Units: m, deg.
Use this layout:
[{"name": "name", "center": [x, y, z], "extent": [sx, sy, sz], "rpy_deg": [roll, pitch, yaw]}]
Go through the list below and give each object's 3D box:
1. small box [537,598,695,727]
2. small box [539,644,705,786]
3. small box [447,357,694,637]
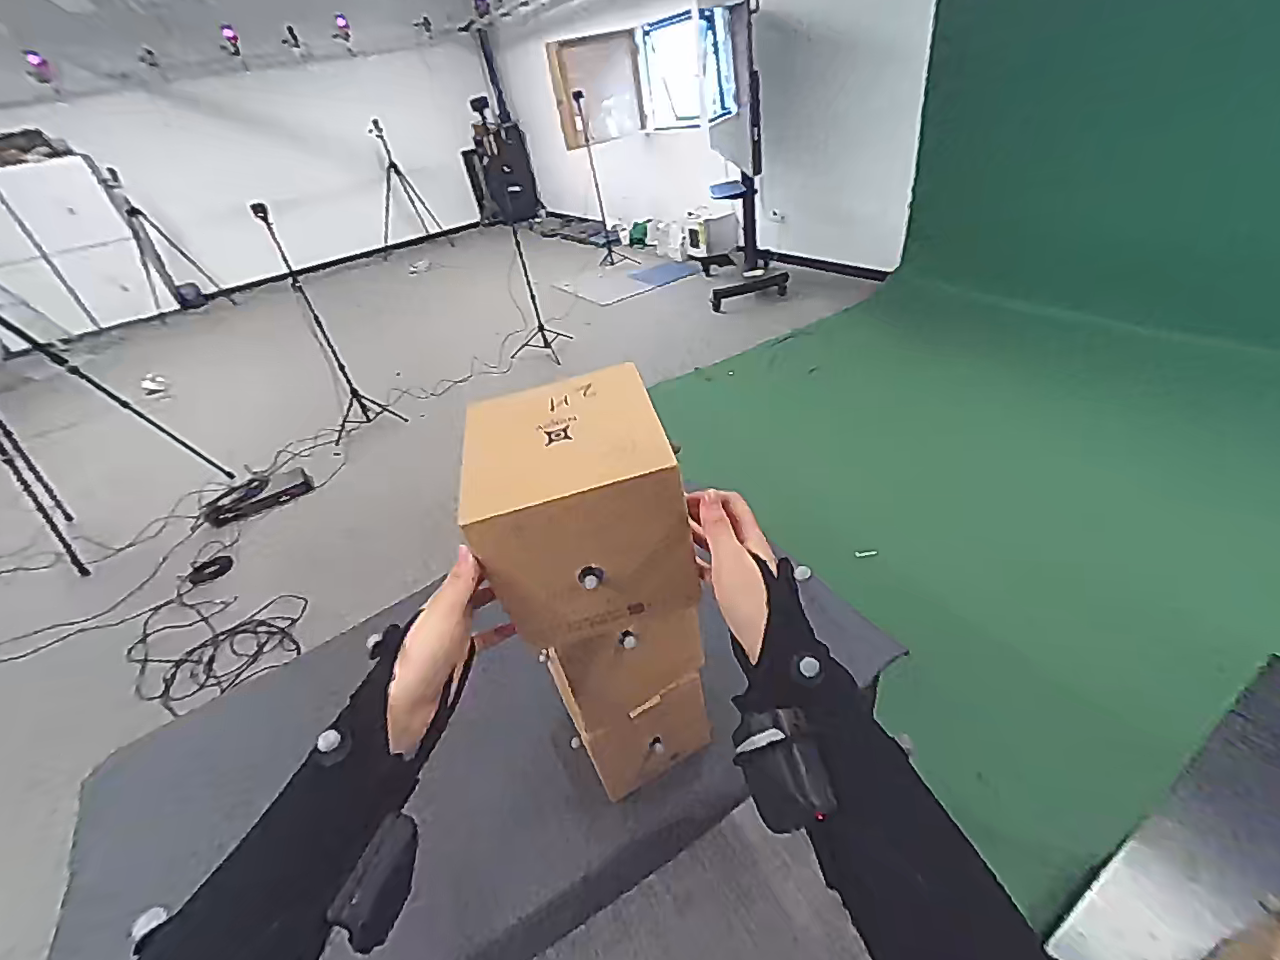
[{"name": "small box", "center": [-0.043, 0.171, 0.693], "extent": [0.179, 0.176, 0.168], "rpy_deg": [-27, 37, -18]}, {"name": "small box", "center": [-0.022, 0.306, 0.783], "extent": [0.168, 0.176, 0.179], "rpy_deg": [-25, 37, -17]}, {"name": "small box", "center": [-0.056, 0.019, 0.489], "extent": [0.168, 0.176, 0.179], "rpy_deg": [-15, 40, -2]}]
